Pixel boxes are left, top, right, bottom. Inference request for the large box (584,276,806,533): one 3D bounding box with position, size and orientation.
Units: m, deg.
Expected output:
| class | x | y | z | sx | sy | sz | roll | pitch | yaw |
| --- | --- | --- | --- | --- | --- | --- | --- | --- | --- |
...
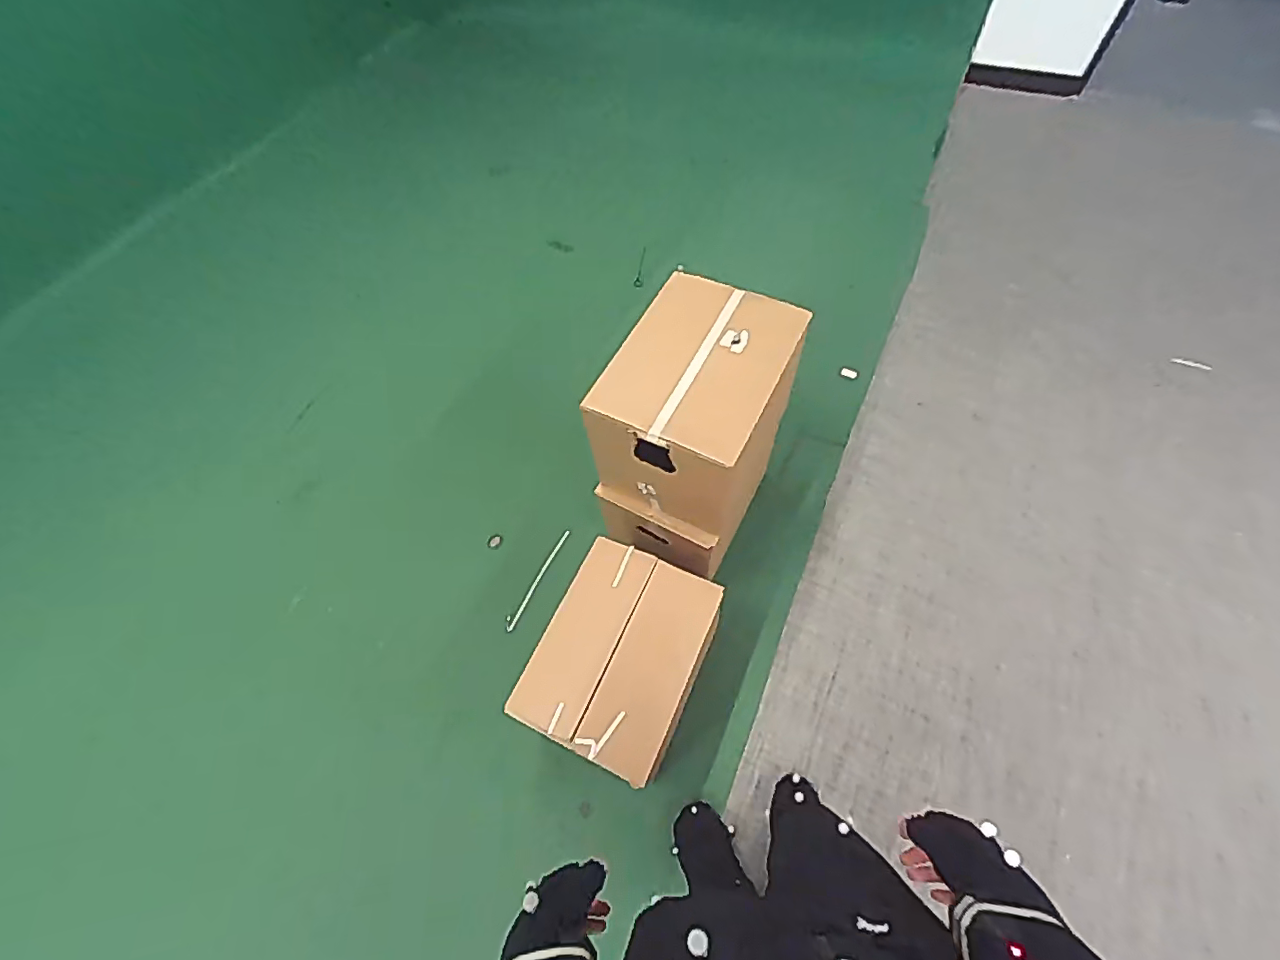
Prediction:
| class | x | y | z | sx | sy | sz | roll | pitch | yaw |
| --- | --- | --- | --- | --- | --- | --- | --- | --- | --- |
| large box | 0.124 | -0.159 | 1.183 | 0.320 | 0.320 | 0.408 | 24 | 65 | 15 |
